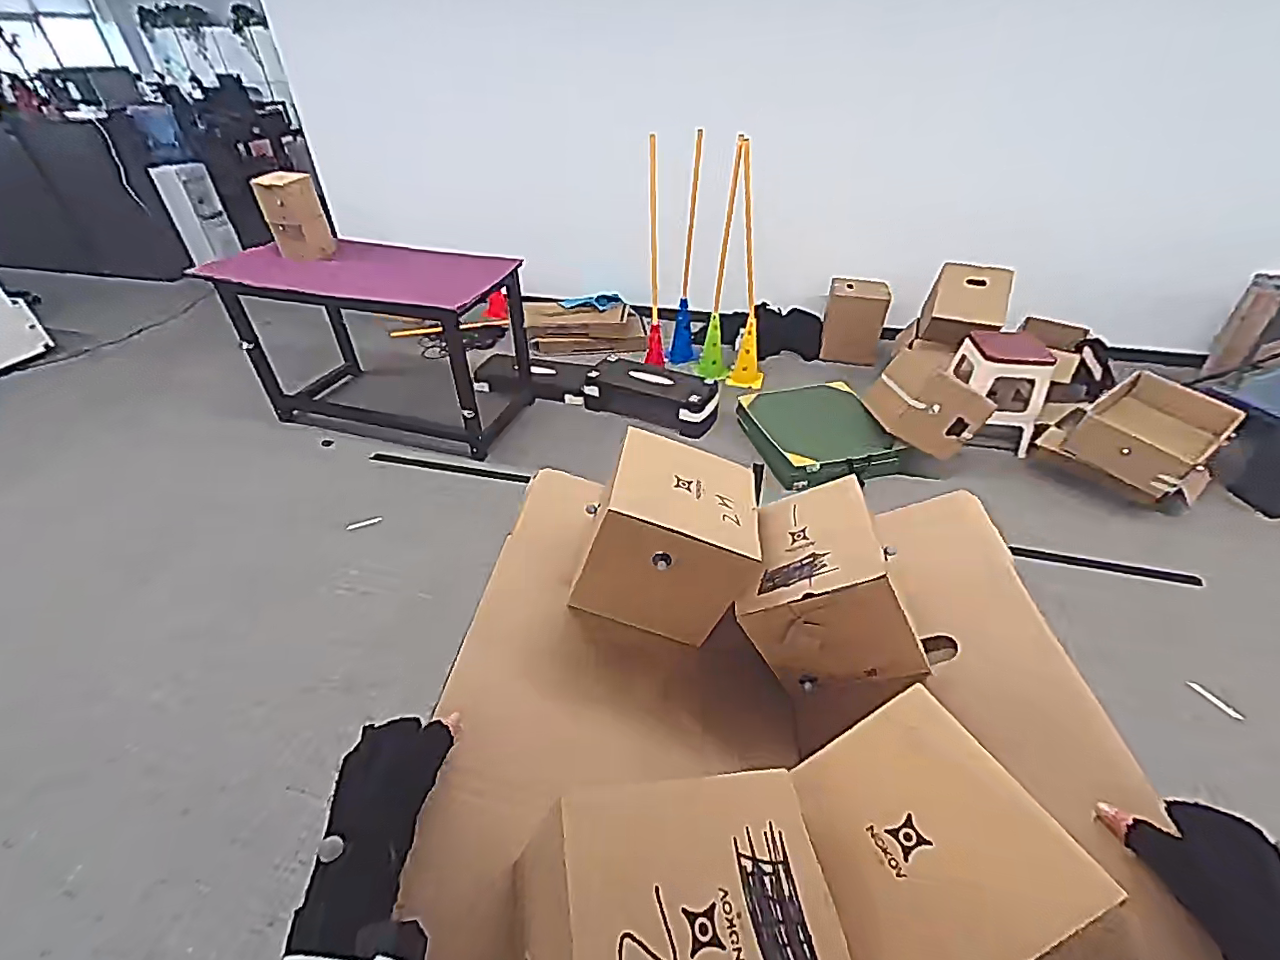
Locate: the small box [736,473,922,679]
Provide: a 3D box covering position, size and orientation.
[{"bbox_3d":[0.231,0.128,0.679,0.168,0.176,0.179,-22,29,24],"label":"small box"}]
